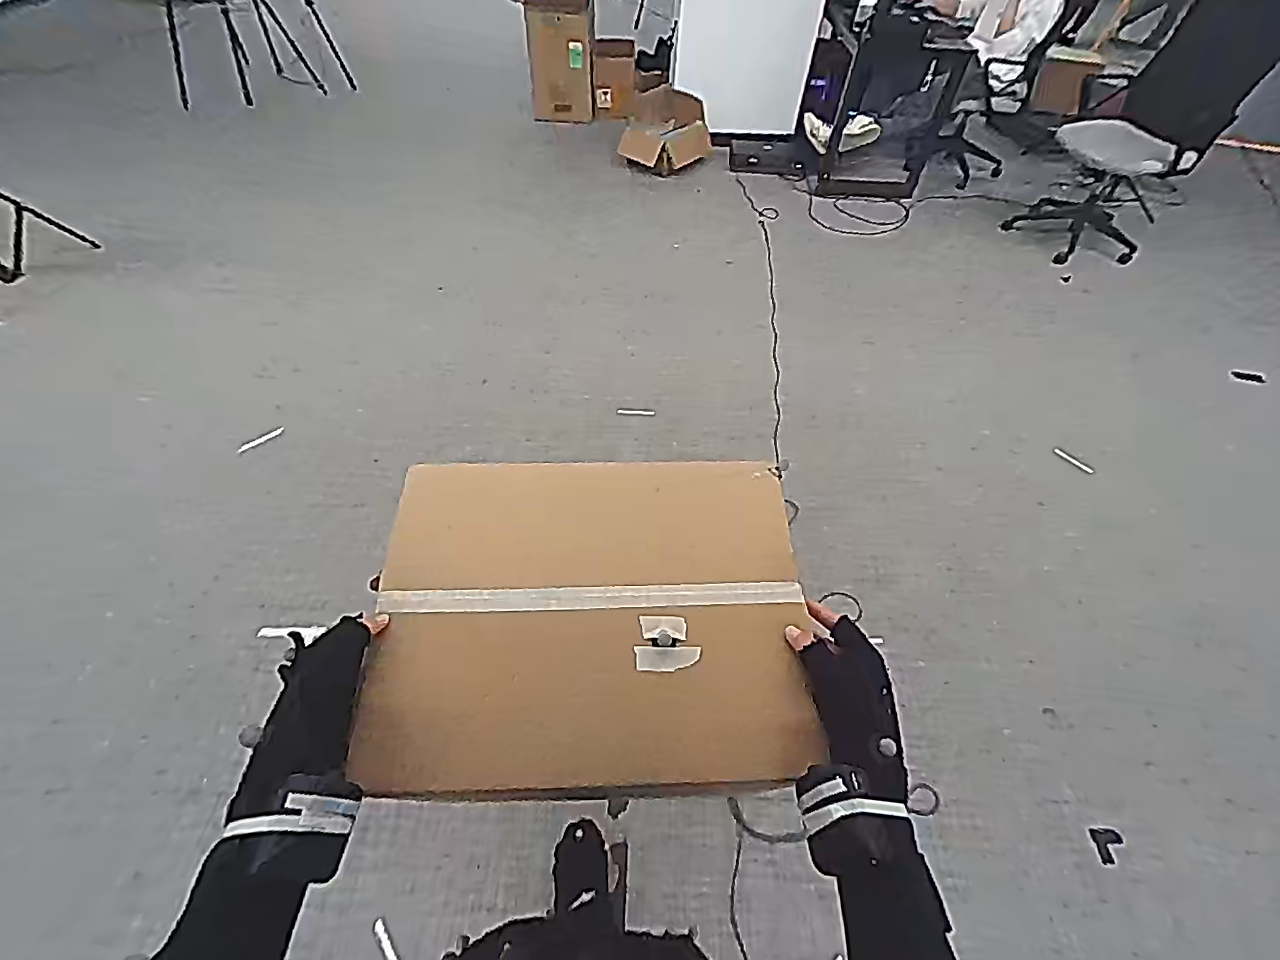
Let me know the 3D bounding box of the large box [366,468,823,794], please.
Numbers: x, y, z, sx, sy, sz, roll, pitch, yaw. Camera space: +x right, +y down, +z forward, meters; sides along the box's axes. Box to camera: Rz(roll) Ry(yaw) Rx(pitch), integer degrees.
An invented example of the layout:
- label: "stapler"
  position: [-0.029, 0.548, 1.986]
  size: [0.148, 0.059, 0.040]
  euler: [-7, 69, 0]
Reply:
- label: "large box"
  position: [-0.047, 0.196, 0.667]
  size: [0.408, 0.320, 0.320]
  euler: [0, 59, -3]
